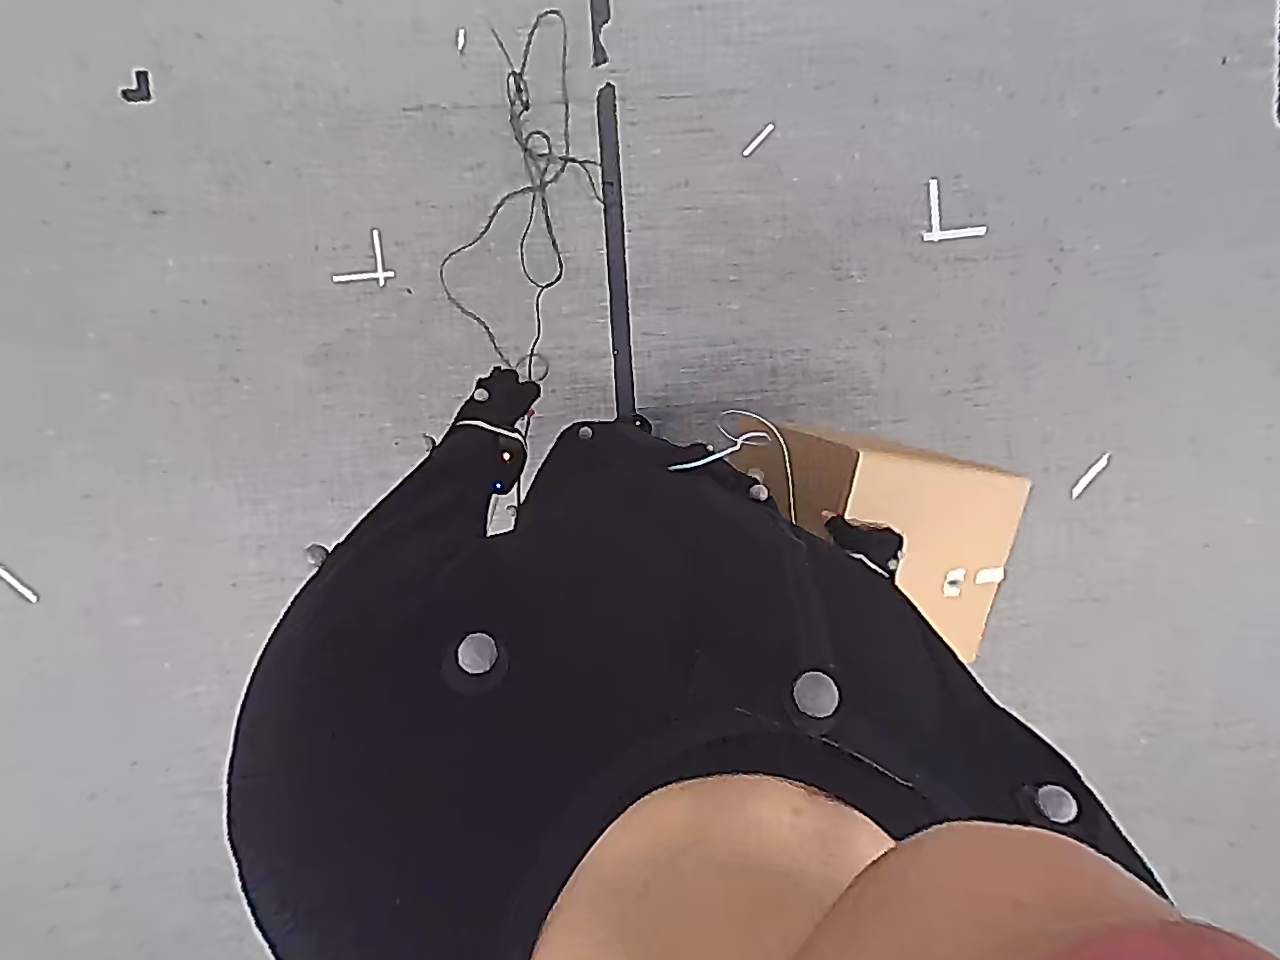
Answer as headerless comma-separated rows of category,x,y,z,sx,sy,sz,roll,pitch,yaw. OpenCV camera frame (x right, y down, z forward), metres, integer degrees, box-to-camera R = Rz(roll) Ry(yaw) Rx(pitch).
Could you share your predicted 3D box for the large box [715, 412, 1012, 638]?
large box,0.374,0.063,1.010,0.320,0.408,0.320,7,102,-14
